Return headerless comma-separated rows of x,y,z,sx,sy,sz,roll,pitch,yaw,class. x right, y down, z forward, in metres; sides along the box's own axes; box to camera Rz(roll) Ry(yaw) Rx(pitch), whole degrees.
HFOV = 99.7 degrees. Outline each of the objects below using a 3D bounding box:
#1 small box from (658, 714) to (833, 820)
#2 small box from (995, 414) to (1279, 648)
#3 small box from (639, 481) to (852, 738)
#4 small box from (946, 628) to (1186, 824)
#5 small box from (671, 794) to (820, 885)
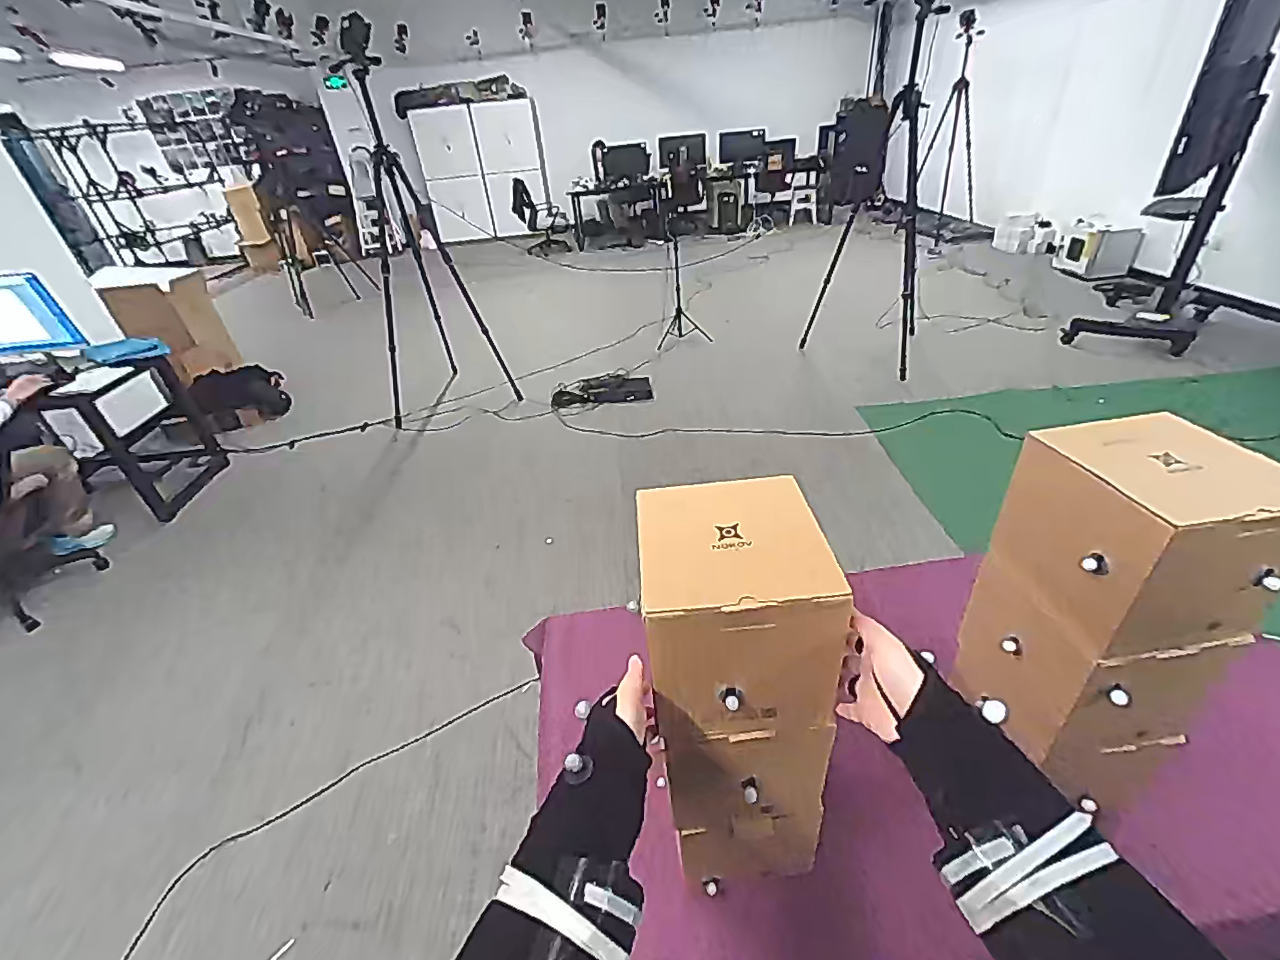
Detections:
0.103,0.261,0.617,0.168,0.176,0.179,-7,35,-2,small box
0.514,0.054,0.557,0.168,0.176,0.179,-8,33,-3,small box
0.087,0.122,0.532,0.168,0.176,0.179,-6,33,1,small box
0.549,0.329,0.733,0.168,0.176,0.179,-7,34,1,small box
0.121,0.397,0.708,0.168,0.176,0.179,-8,33,-3,small box
